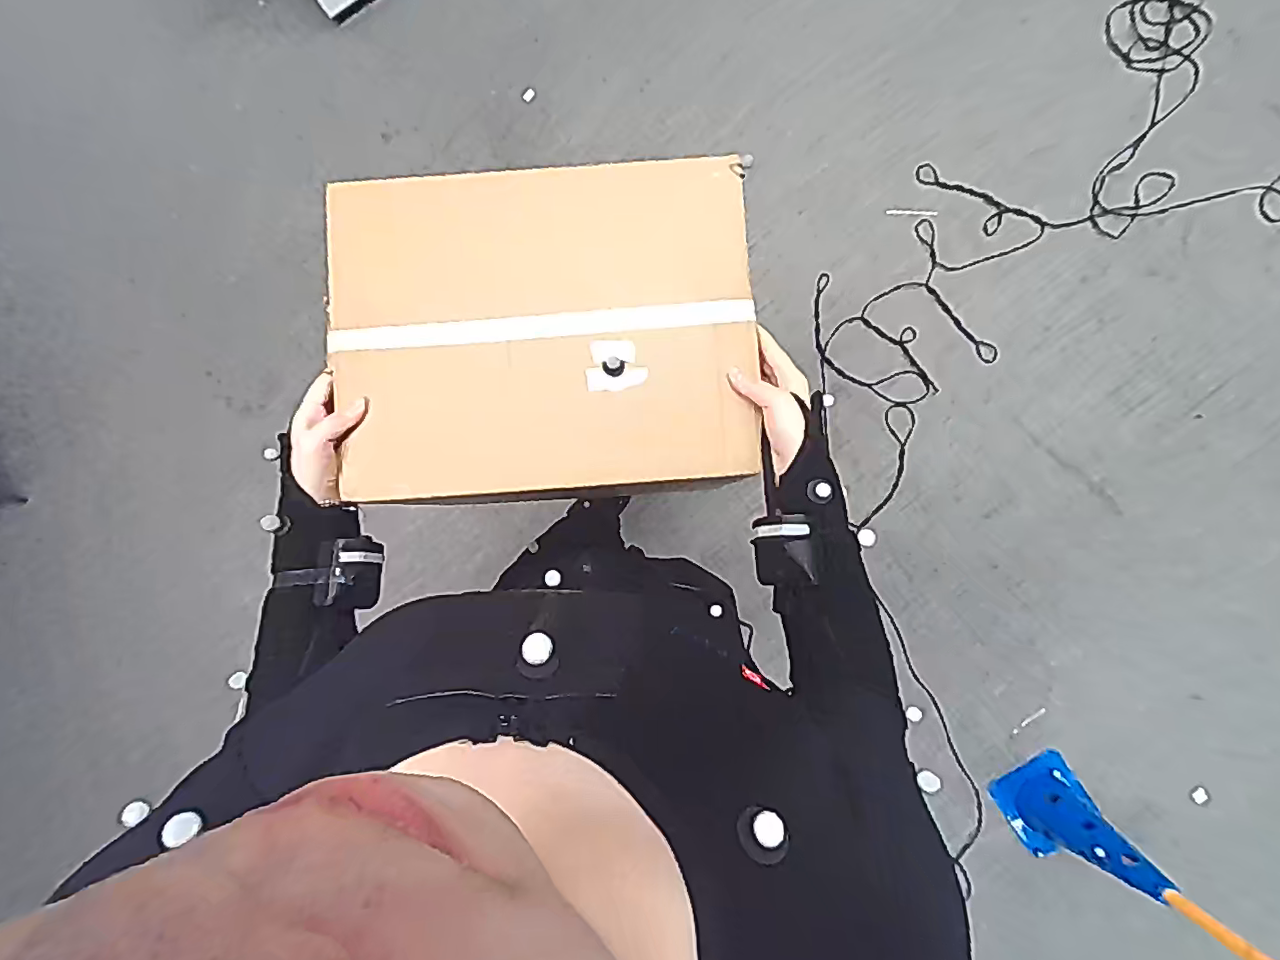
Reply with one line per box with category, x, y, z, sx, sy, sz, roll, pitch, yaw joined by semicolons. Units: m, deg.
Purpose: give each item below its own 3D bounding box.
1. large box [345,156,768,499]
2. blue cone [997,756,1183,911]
large box;-0.088;-0.149;0.676;0.408;0.320;0.320;-4;87;-1
blue cone;0.991;0.783;1.176;0.193;0.380;0.192;-31;83;1
